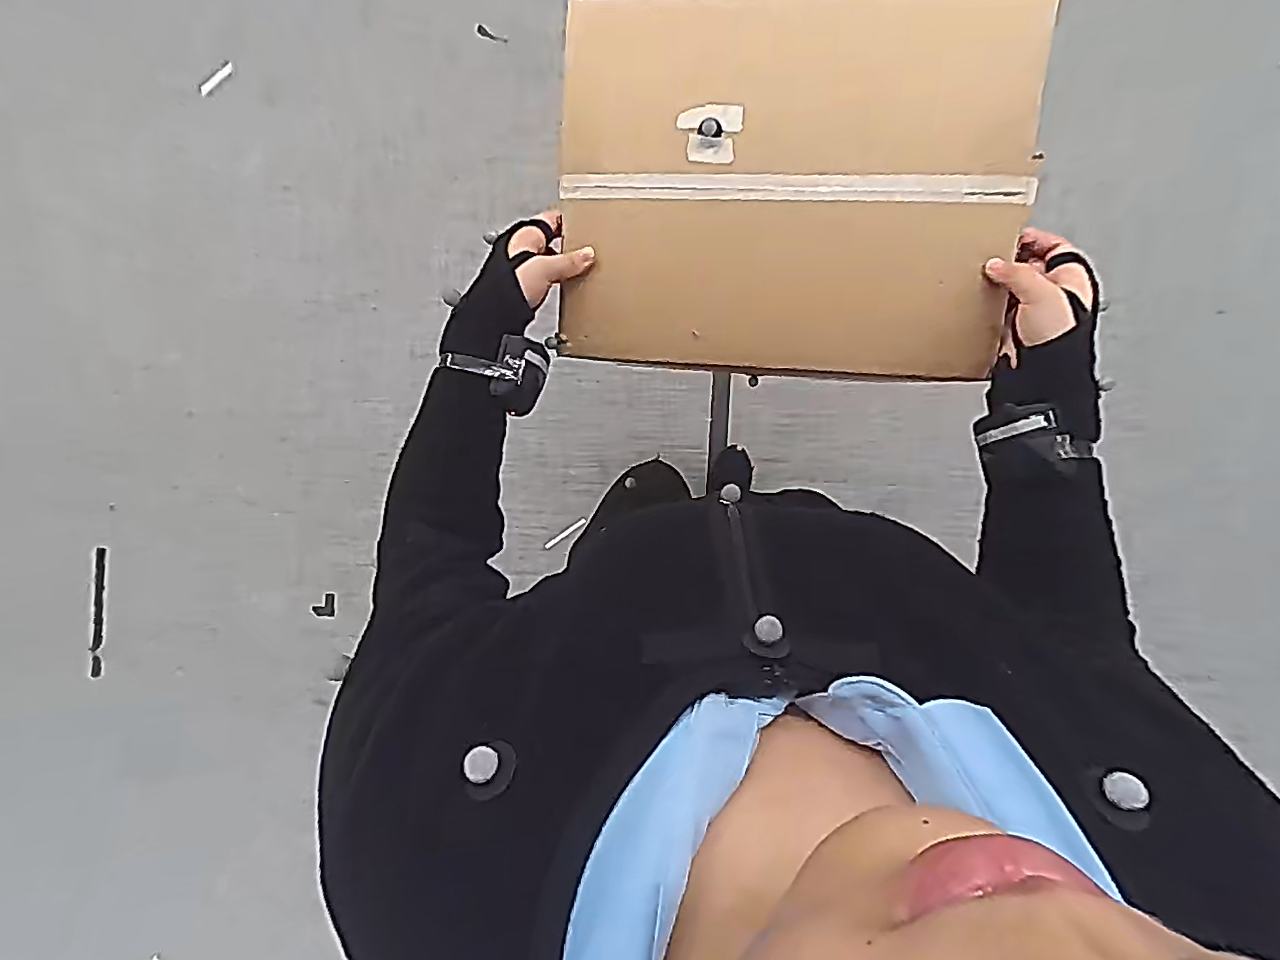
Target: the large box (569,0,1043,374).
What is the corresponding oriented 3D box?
[{"bbox_3d":[0.155,-0.288,0.640,0.408,0.320,0.320,5,99,9],"label":"large box"}]
